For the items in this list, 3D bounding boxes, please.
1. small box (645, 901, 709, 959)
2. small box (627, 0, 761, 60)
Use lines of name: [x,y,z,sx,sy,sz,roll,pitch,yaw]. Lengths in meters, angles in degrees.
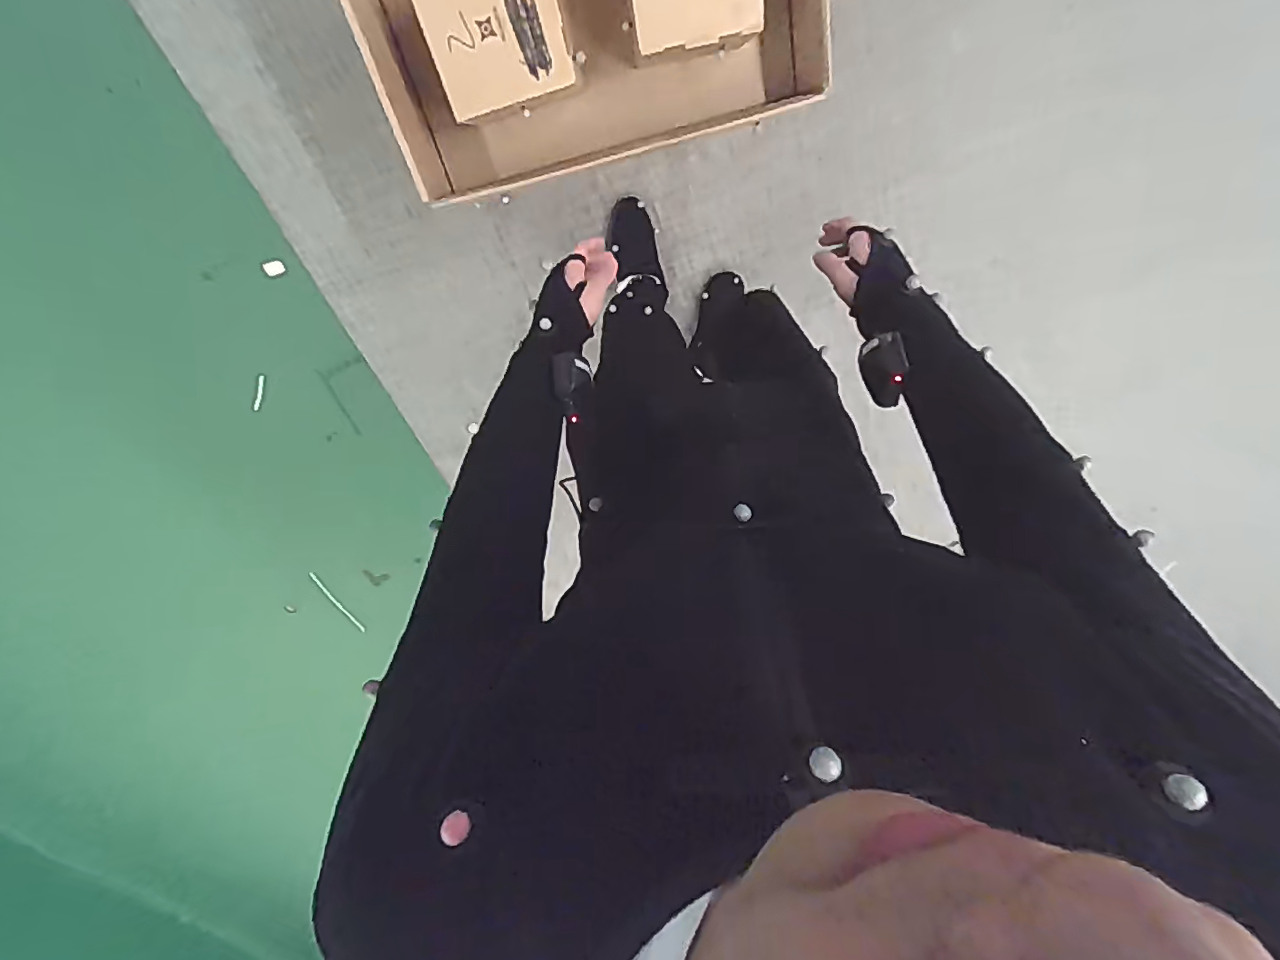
small box: [0.121,1.500,1.747,0.168,0.176,0.179,-18,121,10]
small box: [0.064,-0.687,0.725,0.168,0.176,0.179,-9,123,4]
